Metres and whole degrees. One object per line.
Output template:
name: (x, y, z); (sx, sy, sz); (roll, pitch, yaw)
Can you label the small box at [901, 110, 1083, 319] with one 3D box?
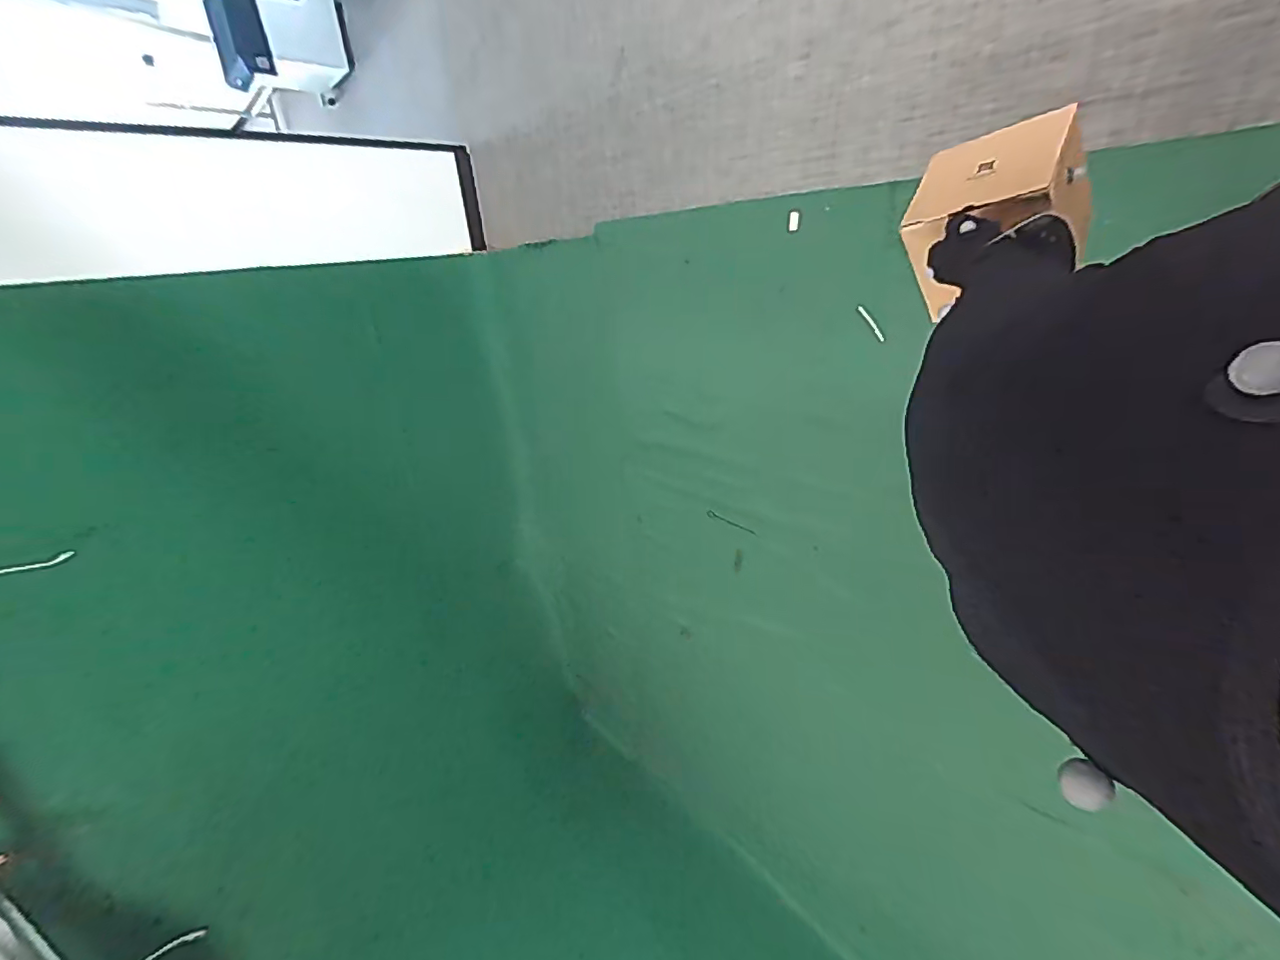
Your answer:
small box: (0.491, -0.352, 0.747); (0.168, 0.179, 0.176); (5, 148, 48)
